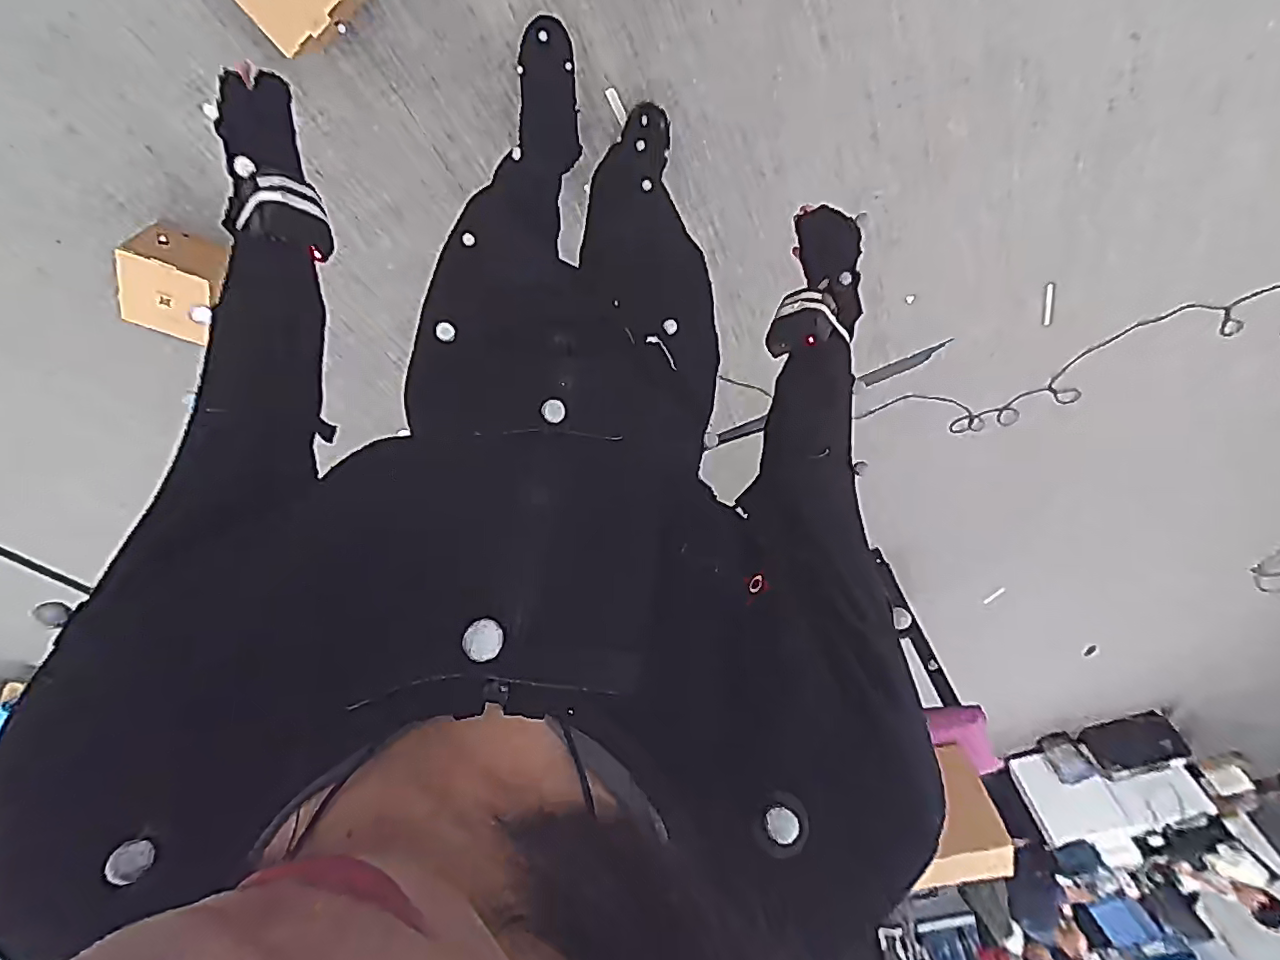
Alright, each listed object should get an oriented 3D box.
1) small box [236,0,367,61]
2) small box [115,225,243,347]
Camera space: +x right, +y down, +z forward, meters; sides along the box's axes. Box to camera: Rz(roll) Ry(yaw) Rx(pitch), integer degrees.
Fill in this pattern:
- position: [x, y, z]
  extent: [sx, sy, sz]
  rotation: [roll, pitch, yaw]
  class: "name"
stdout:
- position: [-0.575, -0.846, 0.889]
  extent: [0.168, 0.176, 0.179]
  rotation: [-29, 131, 18]
  class: "small box"
- position: [-1.022, -0.438, 1.212]
  extent: [0.168, 0.176, 0.179]
  rotation: [19, 128, -21]
  class: "small box"
